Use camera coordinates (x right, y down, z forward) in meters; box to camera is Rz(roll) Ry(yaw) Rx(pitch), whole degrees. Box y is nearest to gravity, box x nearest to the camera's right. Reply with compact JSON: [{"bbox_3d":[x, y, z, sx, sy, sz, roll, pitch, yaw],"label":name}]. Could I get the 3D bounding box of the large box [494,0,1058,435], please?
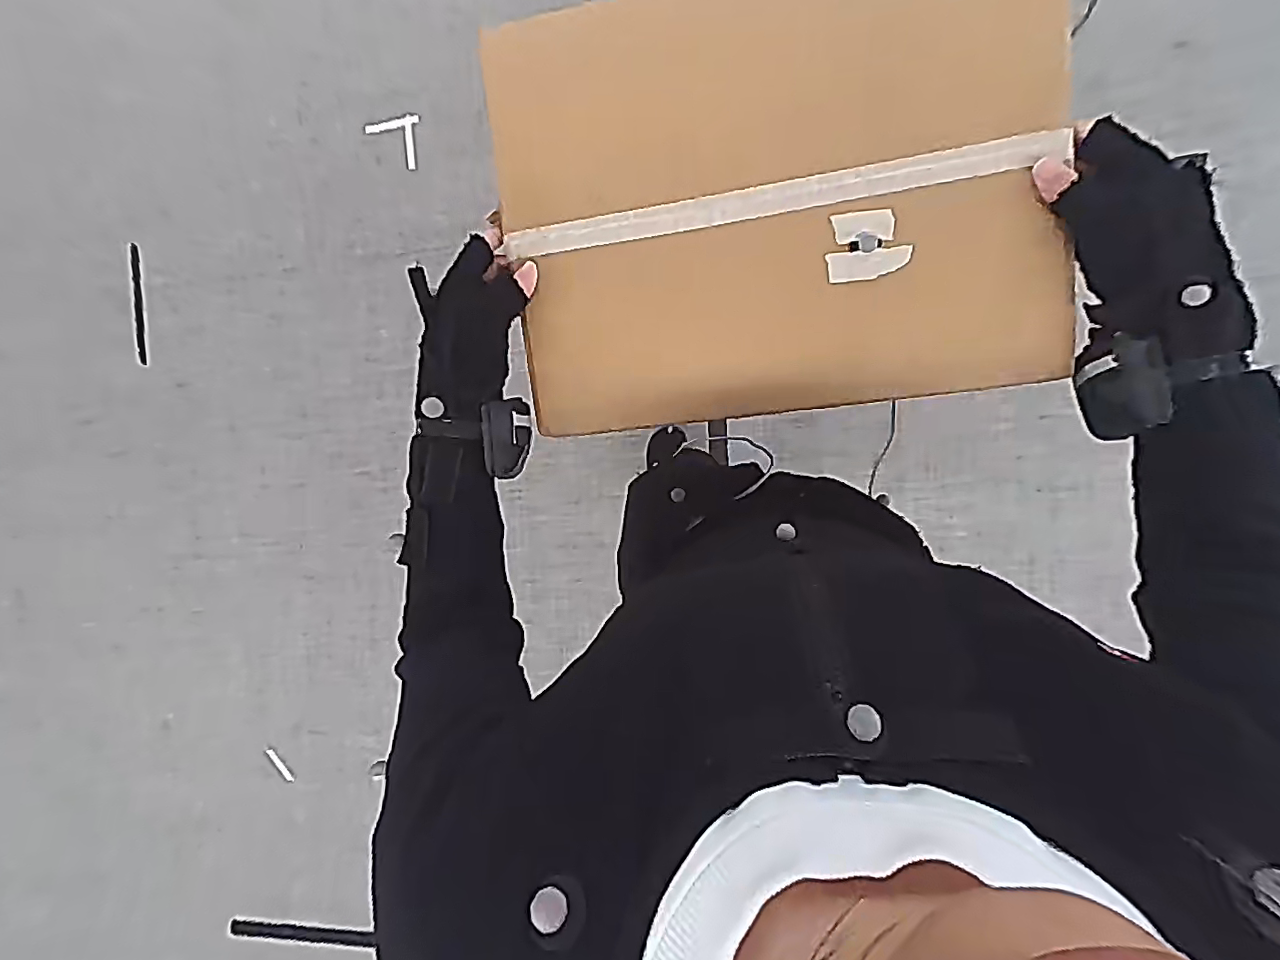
[{"bbox_3d":[0.117,-0.234,0.561,0.408,0.320,0.320,-6,99,9],"label":"large box"}]
